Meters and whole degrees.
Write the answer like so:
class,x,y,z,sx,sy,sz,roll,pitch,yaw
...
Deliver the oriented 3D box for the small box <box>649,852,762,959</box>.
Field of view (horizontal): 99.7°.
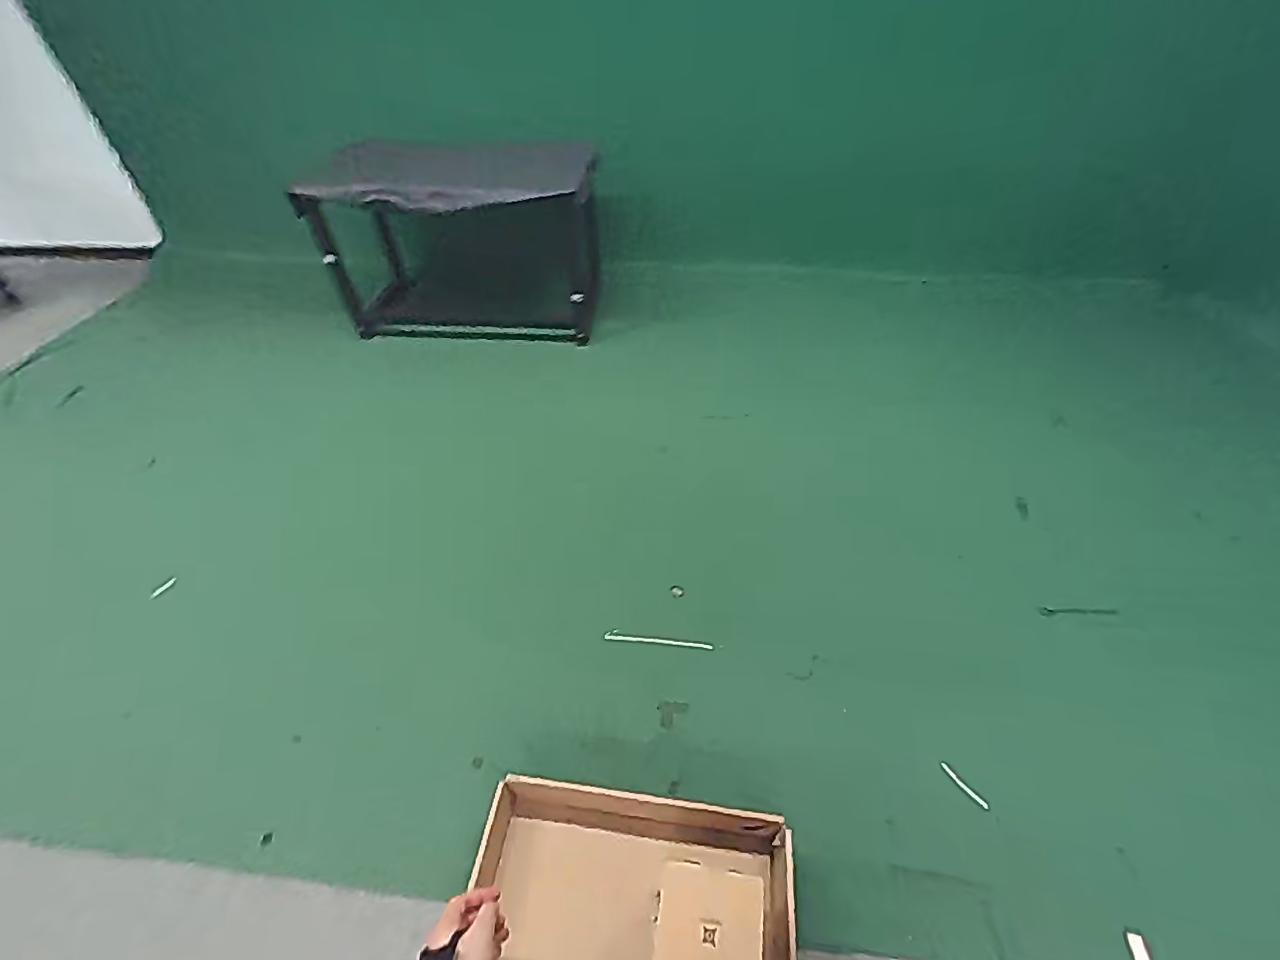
class,x,y,z,sx,sy,sz,roll,pitch,yaw
small box,0.104,0.744,0.890,0.168,0.176,0.179,6,48,8
